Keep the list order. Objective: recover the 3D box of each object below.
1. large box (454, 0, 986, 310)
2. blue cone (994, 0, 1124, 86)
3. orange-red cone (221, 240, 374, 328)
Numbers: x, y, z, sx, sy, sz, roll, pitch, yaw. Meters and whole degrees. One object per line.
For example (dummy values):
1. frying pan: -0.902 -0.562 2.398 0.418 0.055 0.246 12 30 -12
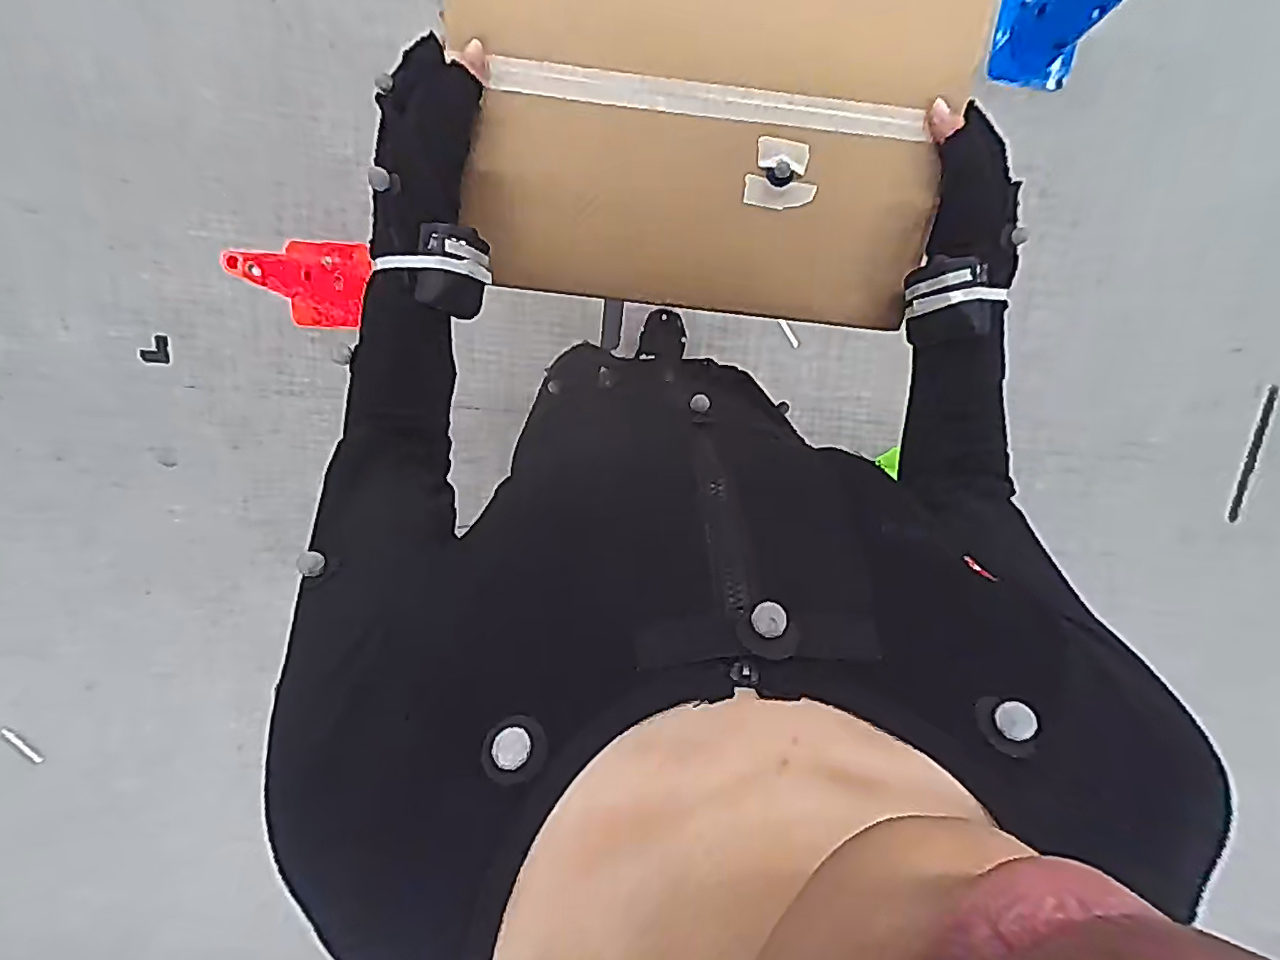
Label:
1. large box: 0.052 -0.370 0.563 0.408 0.320 0.320 5 115 -3
2. blue cone: 0.945 -1.006 1.112 0.192 0.380 0.193 7 103 -5
3. orange-red cone: -0.750 -0.434 1.155 0.198 0.360 0.199 2 105 -2
